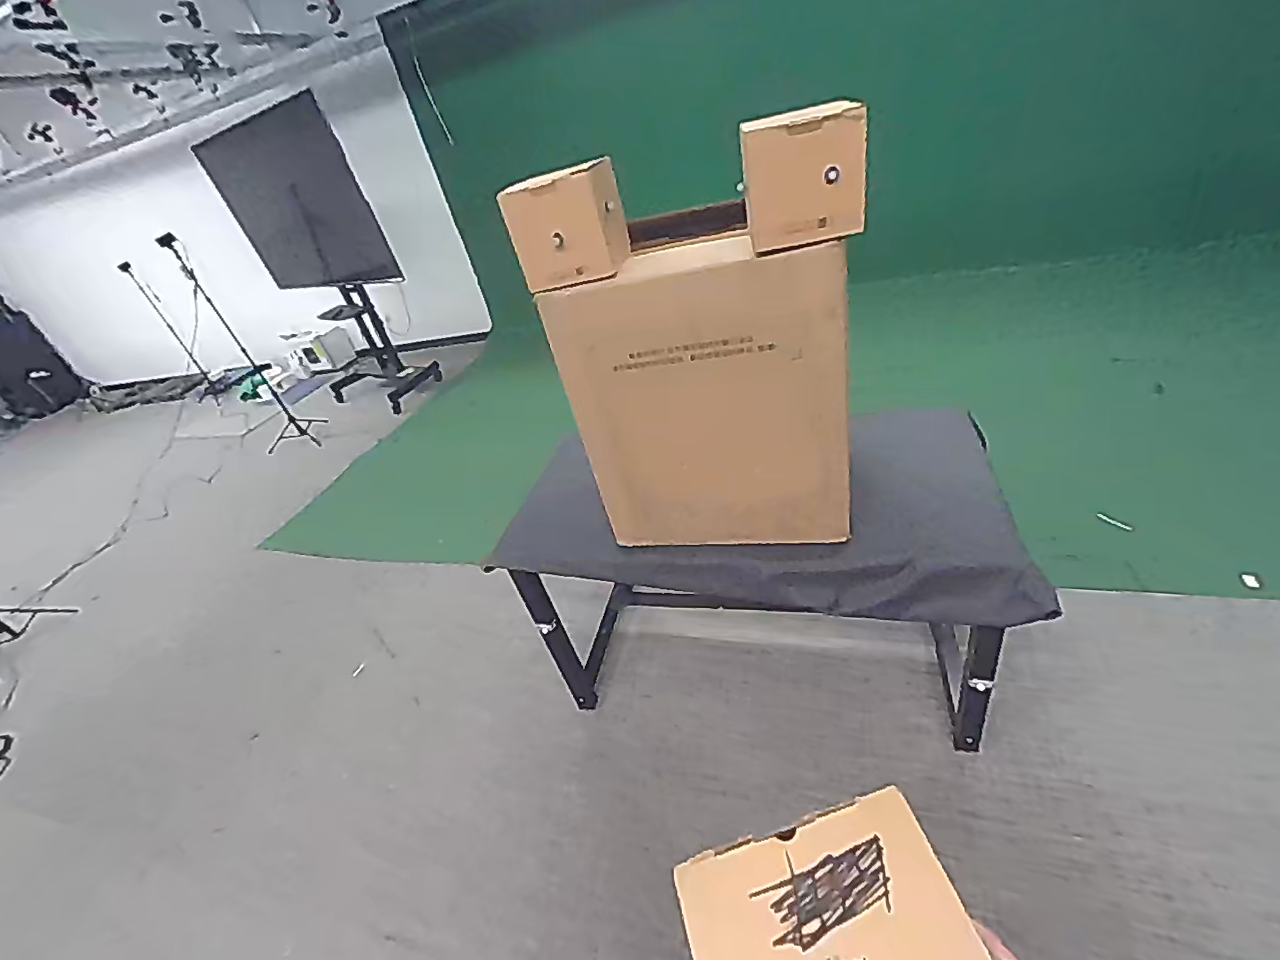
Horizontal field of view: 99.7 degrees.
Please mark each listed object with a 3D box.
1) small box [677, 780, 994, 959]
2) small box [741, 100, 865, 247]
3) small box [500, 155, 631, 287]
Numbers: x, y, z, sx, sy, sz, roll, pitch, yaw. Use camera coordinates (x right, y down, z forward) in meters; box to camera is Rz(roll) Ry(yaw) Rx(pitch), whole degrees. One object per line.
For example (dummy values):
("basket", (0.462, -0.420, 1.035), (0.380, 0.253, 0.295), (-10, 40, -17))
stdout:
("small box", (0.139, 0.341, 0.366), (0.168, 0.176, 0.179), (-21, 45, 2))
("small box", (0.252, -0.479, 0.854), (0.168, 0.176, 0.179), (-5, 35, 11))
("small box", (-0.123, -0.466, 0.986), (0.168, 0.176, 0.179), (-6, 36, 16))
